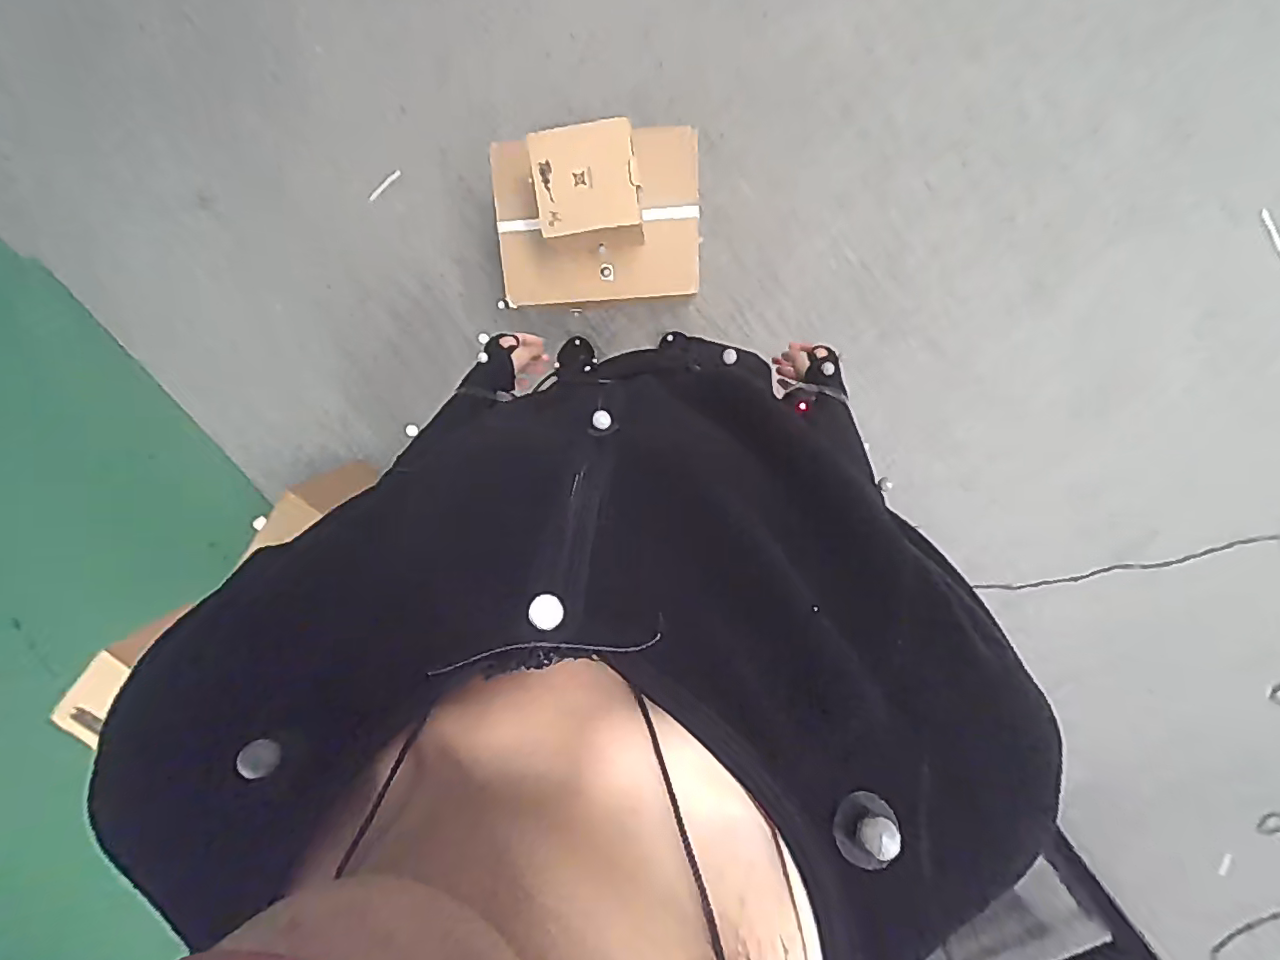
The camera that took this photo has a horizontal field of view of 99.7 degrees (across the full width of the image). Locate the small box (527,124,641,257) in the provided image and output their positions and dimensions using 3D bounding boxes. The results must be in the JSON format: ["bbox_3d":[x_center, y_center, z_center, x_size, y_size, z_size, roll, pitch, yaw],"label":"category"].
[{"bbox_3d":[-0.092,-0.514,0.981,0.179,0.176,0.168,-6,102,3],"label":"small box"}]
